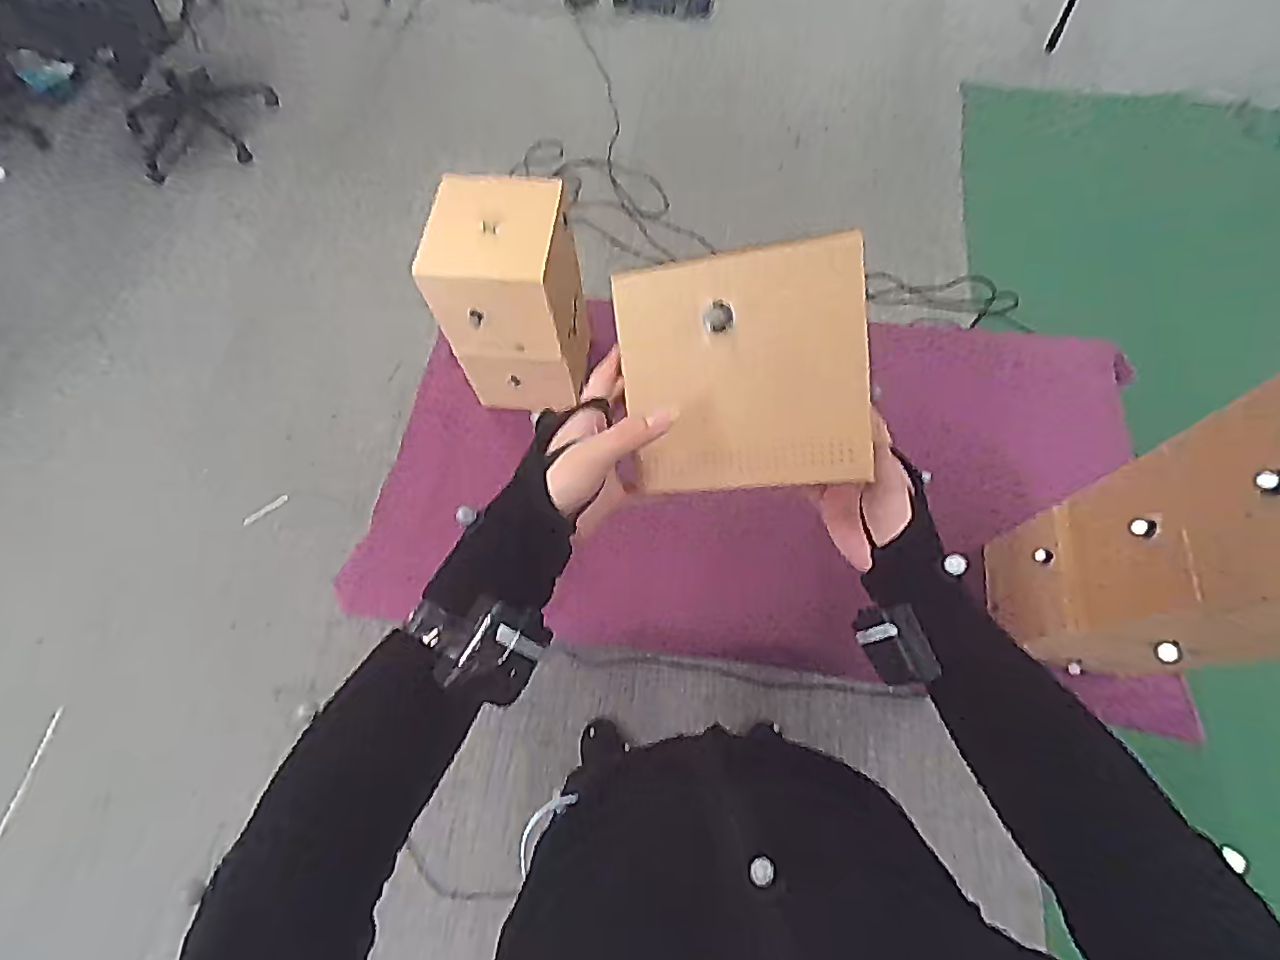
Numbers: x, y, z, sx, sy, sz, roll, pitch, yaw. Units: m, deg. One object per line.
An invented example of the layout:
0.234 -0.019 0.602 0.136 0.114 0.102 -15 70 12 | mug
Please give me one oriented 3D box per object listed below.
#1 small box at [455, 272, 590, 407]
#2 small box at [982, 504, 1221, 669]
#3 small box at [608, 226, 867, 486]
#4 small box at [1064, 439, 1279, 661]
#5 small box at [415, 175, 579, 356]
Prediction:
-0.184 -0.235 0.911 0.179 0.176 0.168 4 67 4 | small box
0.596 0.151 0.725 0.179 0.176 0.168 11 66 6 | small box
0.090 -0.093 0.460 0.179 0.168 0.176 -3 101 19 | small box
0.594 0.082 0.577 0.168 0.176 0.179 10 67 7 | small box
-0.184 -0.293 0.760 0.168 0.176 0.179 4 67 3 | small box
